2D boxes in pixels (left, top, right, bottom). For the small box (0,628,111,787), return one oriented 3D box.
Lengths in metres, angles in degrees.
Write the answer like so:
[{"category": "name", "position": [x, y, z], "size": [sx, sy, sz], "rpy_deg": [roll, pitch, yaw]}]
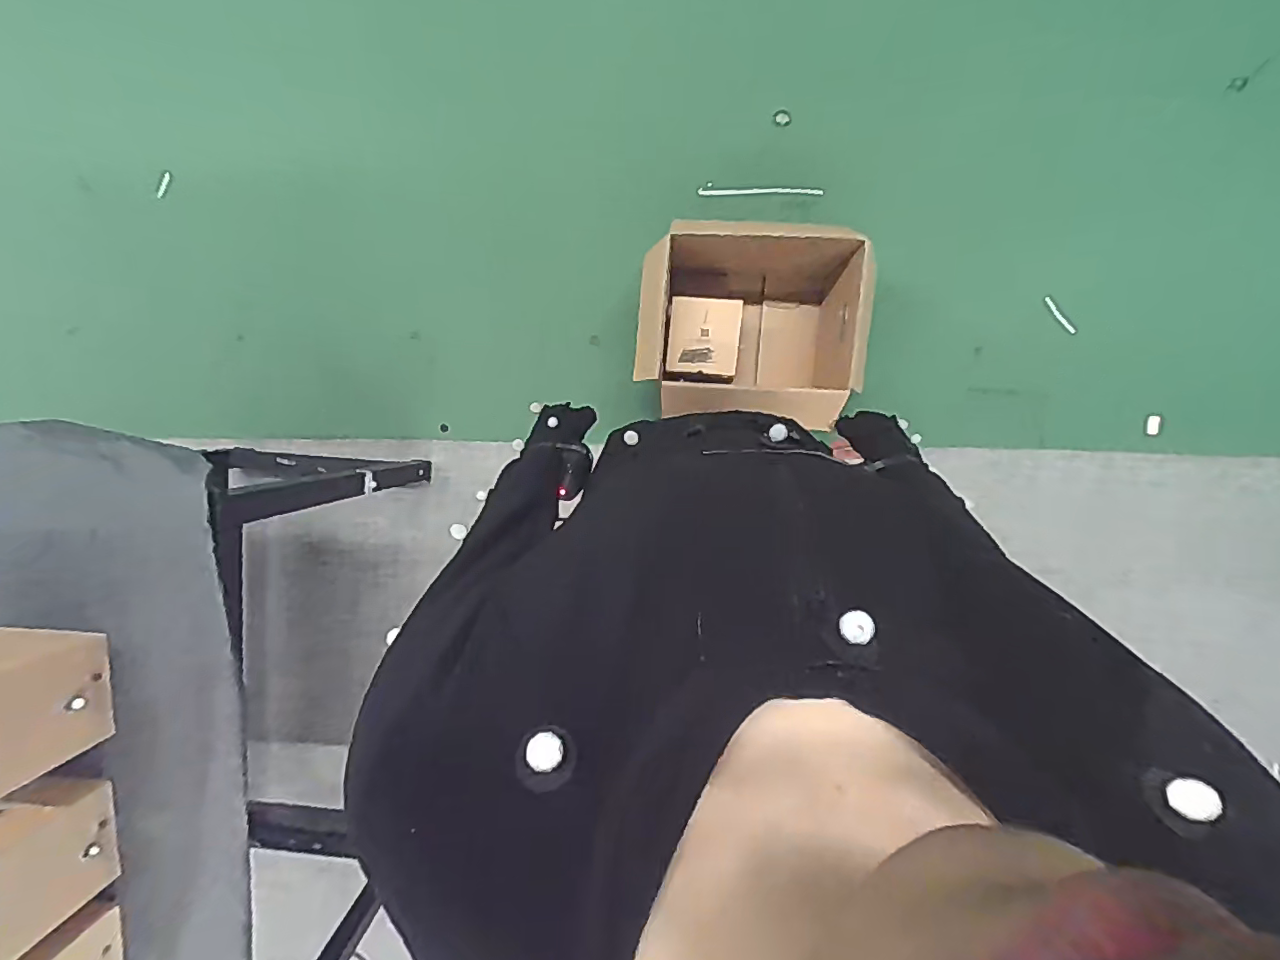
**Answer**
[{"category": "small box", "position": [-0.899, 0.314, 0.748], "size": [0.179, 0.176, 0.168], "rpy_deg": [3, 96, 3]}]
